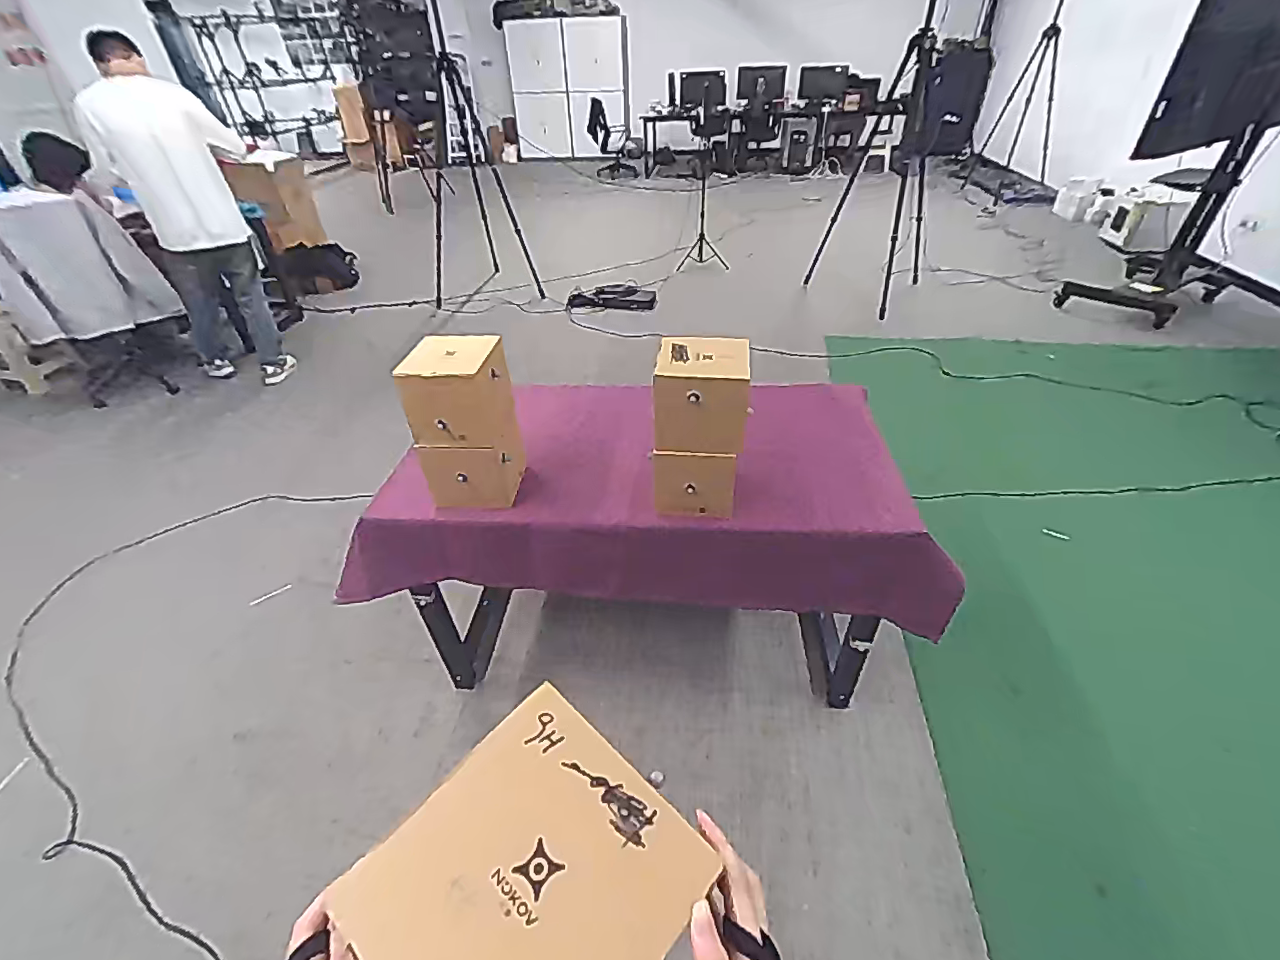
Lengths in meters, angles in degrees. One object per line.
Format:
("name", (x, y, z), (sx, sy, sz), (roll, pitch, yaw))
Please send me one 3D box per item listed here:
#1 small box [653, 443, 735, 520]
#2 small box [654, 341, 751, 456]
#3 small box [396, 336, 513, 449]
("small box", (0.120, -0.032, 1.173), (0.168, 0.176, 0.179), (4, 39, 7))
("small box", (0.124, -0.162, 1.071), (0.179, 0.176, 0.168), (4, 40, 7))
("small box", (-0.371, -0.183, 1.121), (0.168, 0.176, 0.179), (2, 39, 5))
